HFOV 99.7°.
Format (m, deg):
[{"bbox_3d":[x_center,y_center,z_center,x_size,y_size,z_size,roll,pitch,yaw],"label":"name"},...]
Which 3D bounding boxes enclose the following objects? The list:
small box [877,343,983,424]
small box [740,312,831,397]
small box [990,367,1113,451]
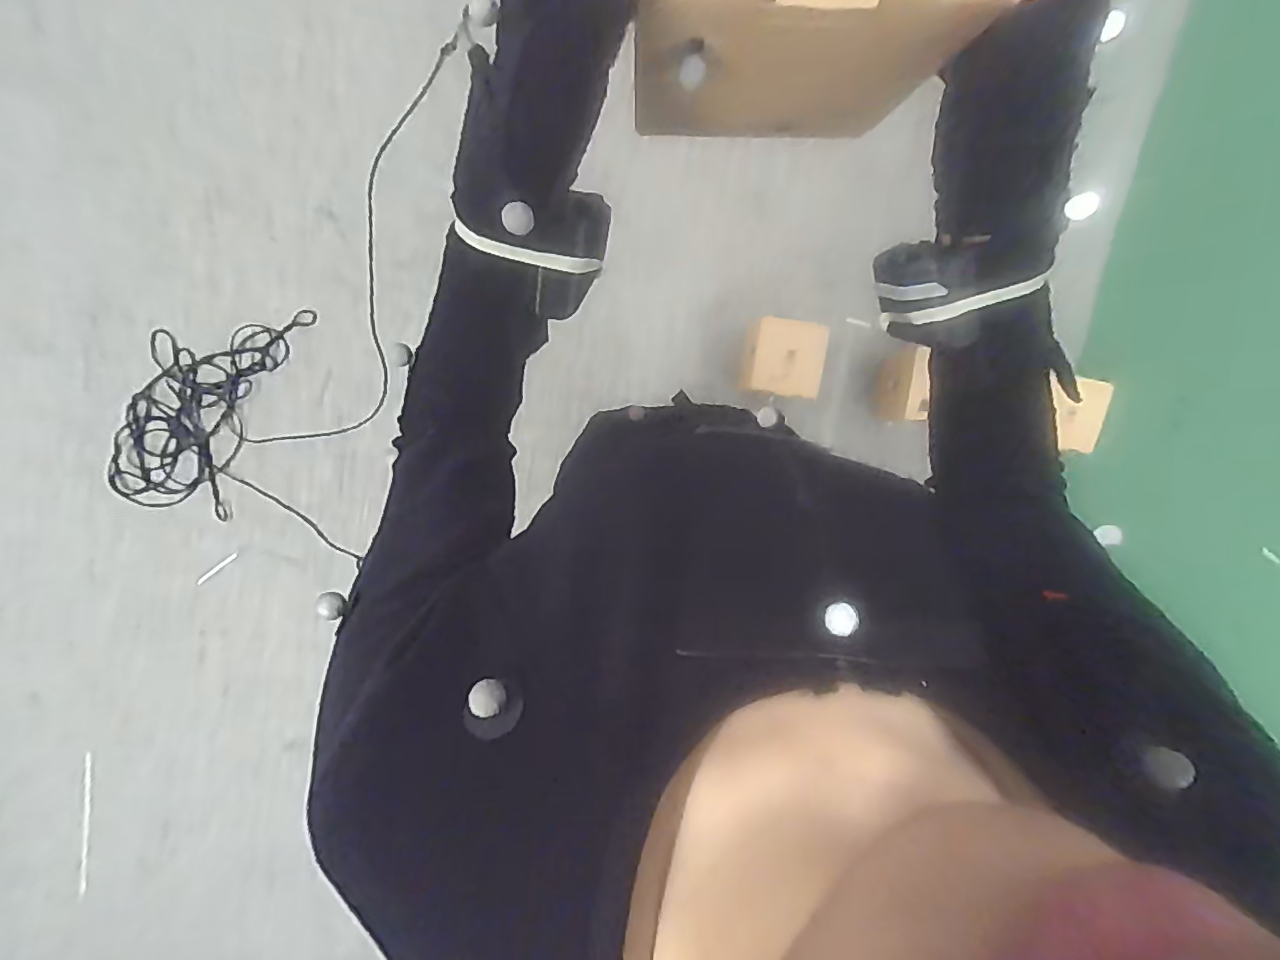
[{"bbox_3d":[0.726,-0.241,1.375,0.168,0.176,0.179,6,97,-2],"label":"small box"},{"bbox_3d":[0.357,-0.308,1.358,0.168,0.176,0.179,9,98,-1],"label":"small box"},{"bbox_3d":[1.043,-0.181,1.389,0.168,0.176,0.179,12,98,-2],"label":"small box"}]
